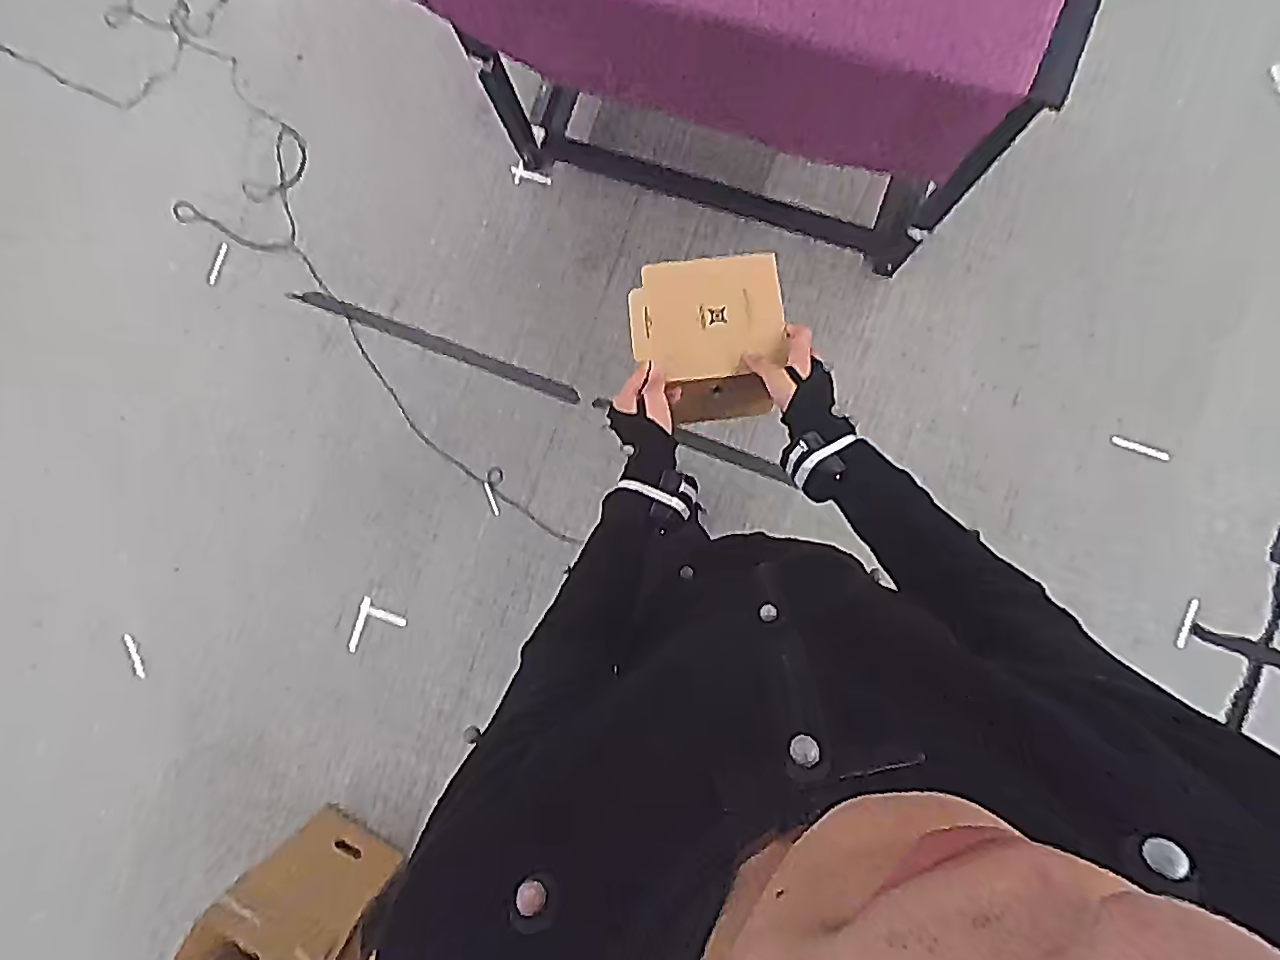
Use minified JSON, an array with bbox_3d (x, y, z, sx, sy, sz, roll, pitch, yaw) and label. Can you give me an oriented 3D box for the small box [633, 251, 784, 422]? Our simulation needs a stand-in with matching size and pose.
[{"bbox_3d":[0.088,-0.188,0.755,0.179,0.176,0.168,-6,76,1],"label":"small box"}]
